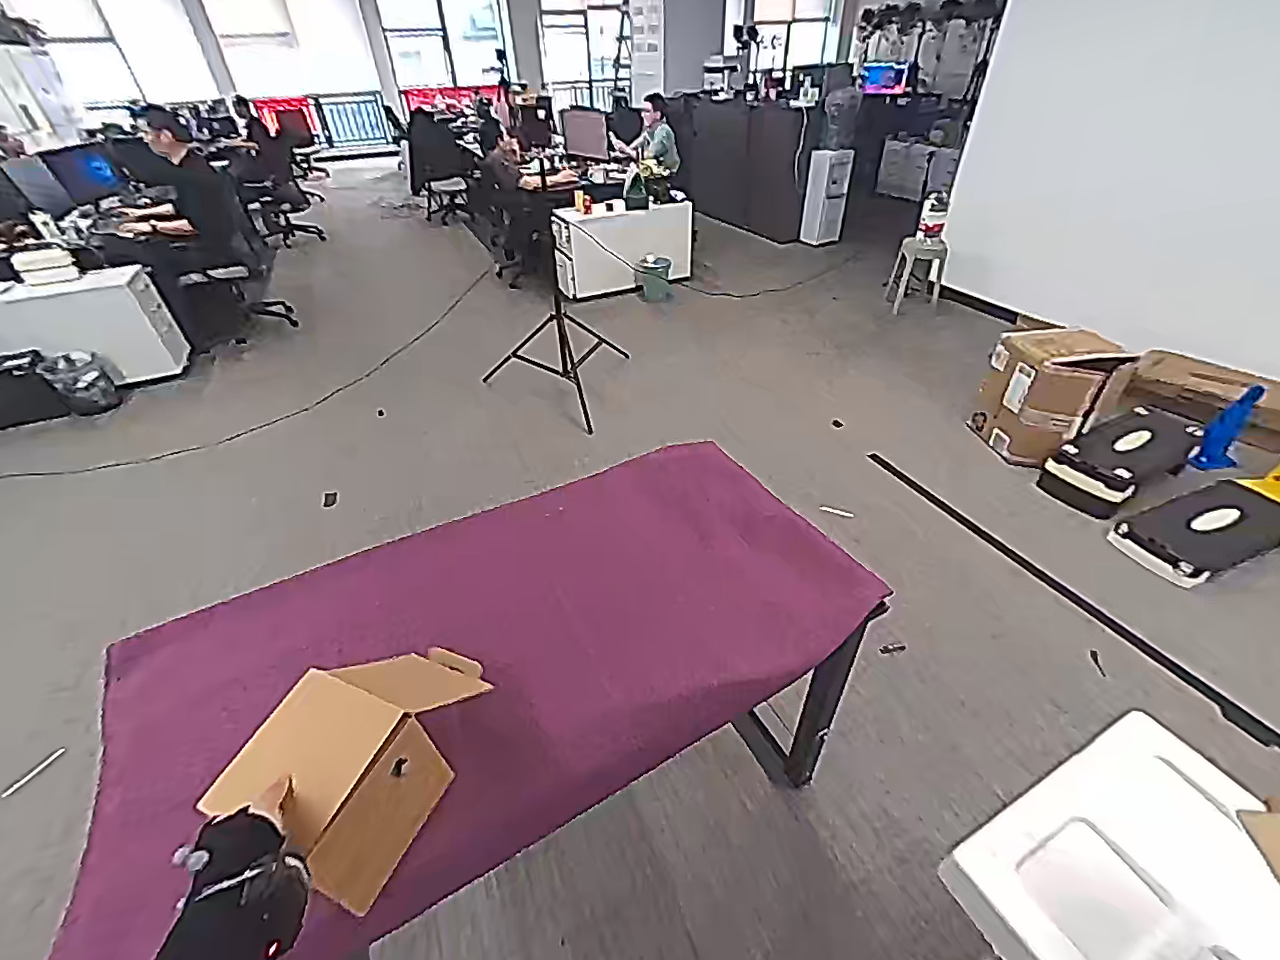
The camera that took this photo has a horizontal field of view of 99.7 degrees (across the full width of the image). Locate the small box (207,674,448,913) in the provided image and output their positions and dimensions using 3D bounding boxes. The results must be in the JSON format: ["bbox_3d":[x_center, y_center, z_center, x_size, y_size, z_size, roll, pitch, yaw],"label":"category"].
[{"bbox_3d":[-0.367,0.385,0.675,0.168,0.176,0.179,11,42,26],"label":"small box"}]
